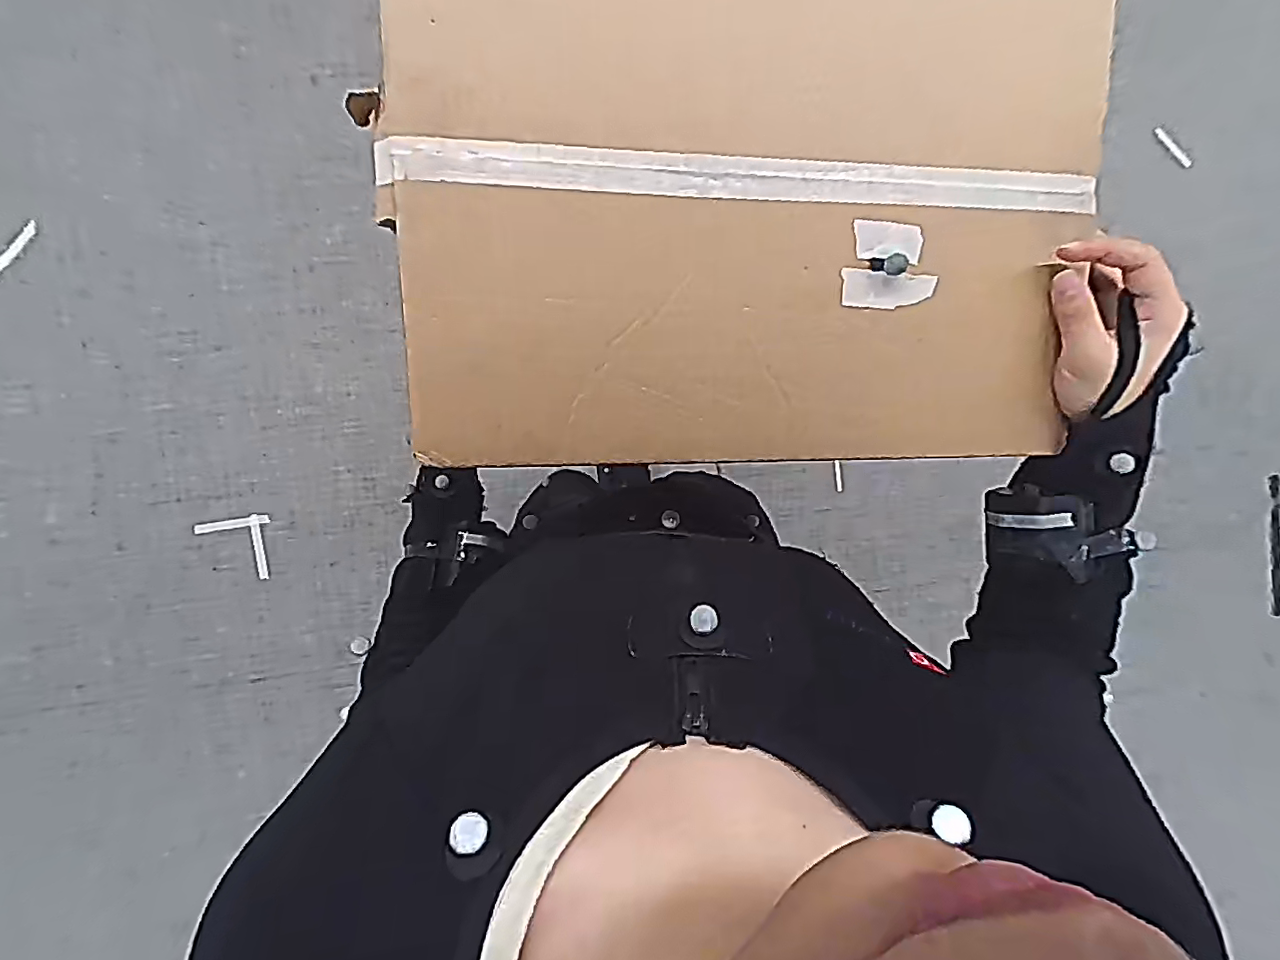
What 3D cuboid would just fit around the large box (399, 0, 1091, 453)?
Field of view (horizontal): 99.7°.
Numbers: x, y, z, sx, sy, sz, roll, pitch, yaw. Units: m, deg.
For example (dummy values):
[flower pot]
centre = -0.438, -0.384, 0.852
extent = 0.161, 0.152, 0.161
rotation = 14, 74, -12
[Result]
[large box]
centre = 0.051, -0.197, 0.455
extent = 0.408, 0.320, 0.320
rotation = -2, 99, -10
